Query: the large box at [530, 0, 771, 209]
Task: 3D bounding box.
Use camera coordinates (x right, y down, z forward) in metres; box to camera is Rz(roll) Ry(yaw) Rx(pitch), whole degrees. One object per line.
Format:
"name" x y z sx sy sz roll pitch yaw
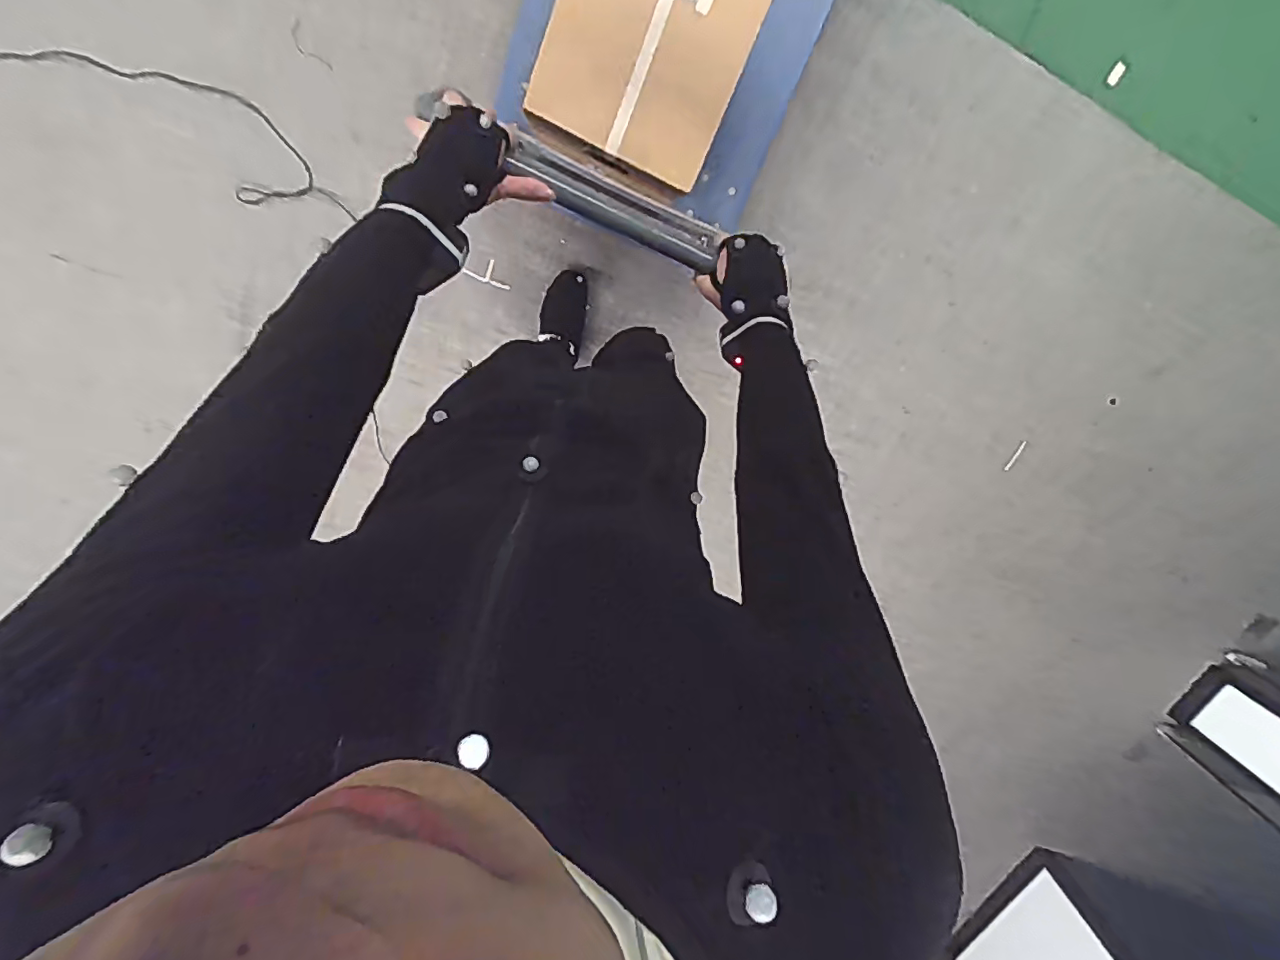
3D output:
"large box" 0.016 -0.787 1.012 0.320 0.320 0.408 21 108 -14
